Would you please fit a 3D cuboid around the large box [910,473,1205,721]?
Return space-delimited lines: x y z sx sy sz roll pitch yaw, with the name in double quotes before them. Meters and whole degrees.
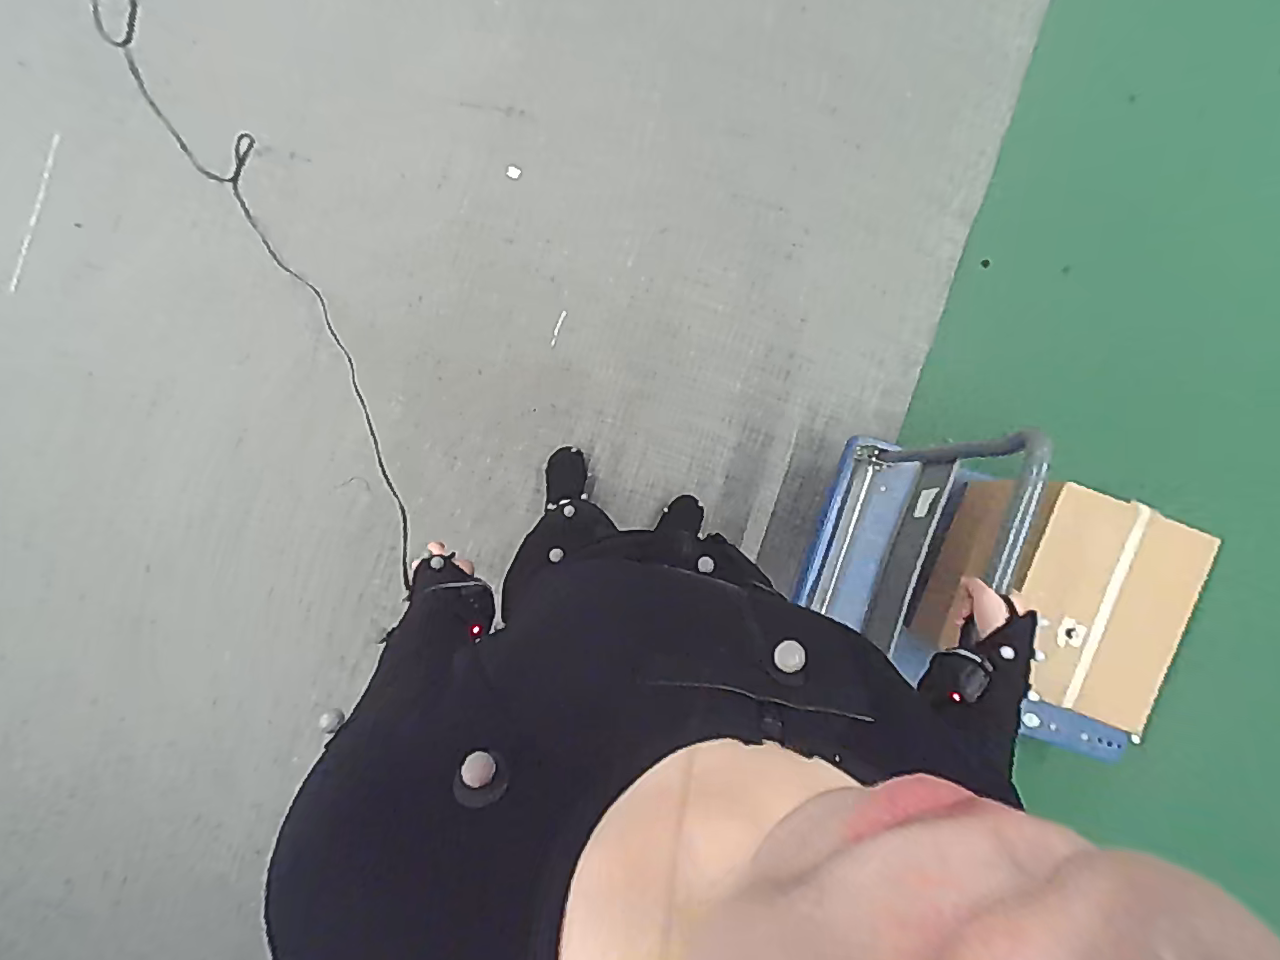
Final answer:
"large box" 0.866 0.221 1.177 0.320 0.320 0.408 21 92 1
